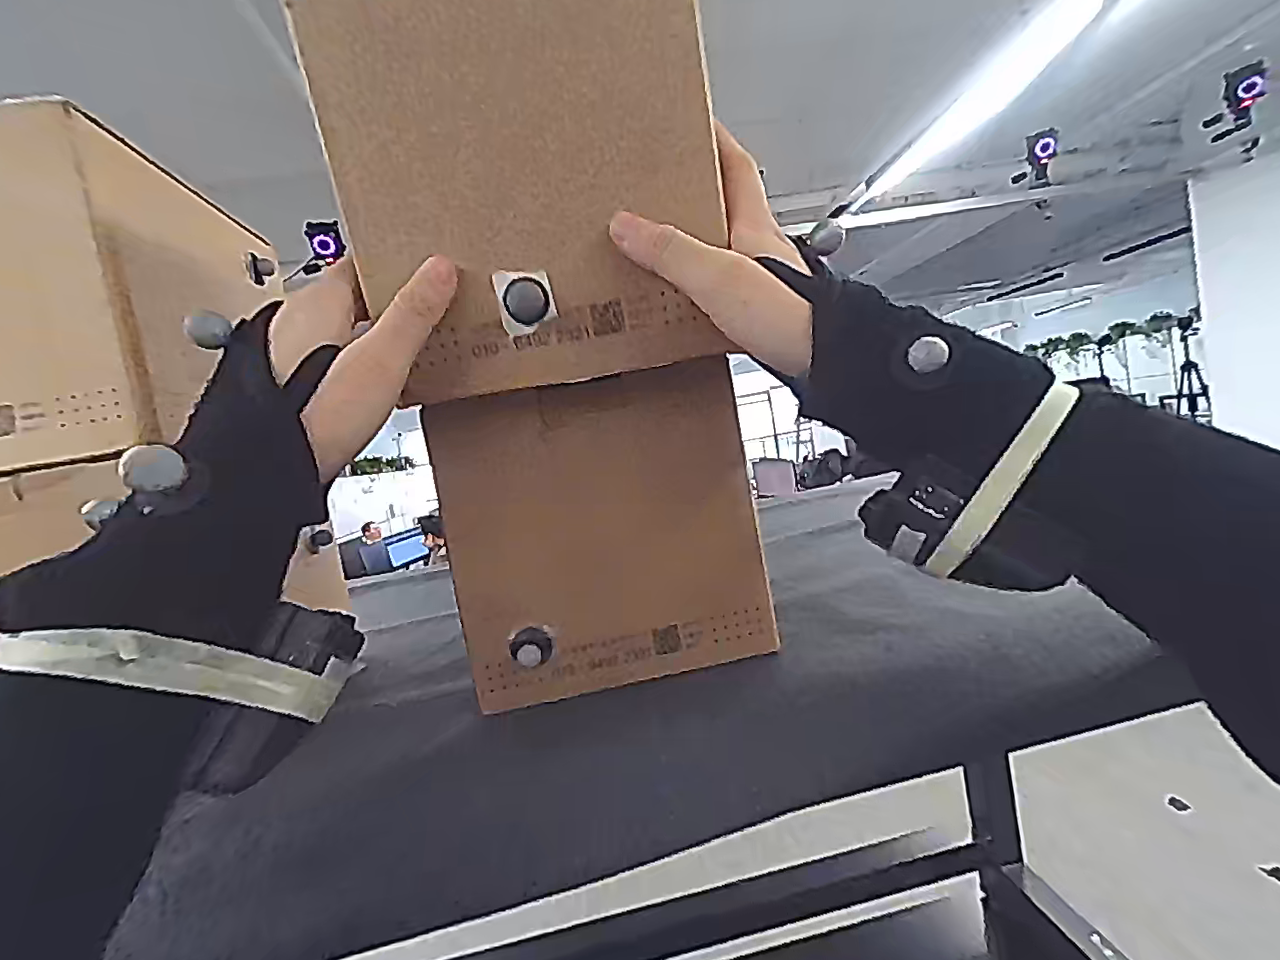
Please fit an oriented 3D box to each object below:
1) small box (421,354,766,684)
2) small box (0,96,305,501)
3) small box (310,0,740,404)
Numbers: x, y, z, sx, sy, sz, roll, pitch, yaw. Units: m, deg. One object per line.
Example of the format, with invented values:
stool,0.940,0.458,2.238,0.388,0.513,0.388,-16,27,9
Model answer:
small box,-0.027,0.023,0.369,0.168,0.176,0.179,-10,3,-5
small box,-0.336,-0.082,0.327,0.168,0.176,0.179,-11,2,-6
small box,-0.050,-0.138,0.320,0.168,0.176,0.179,-12,9,-3
